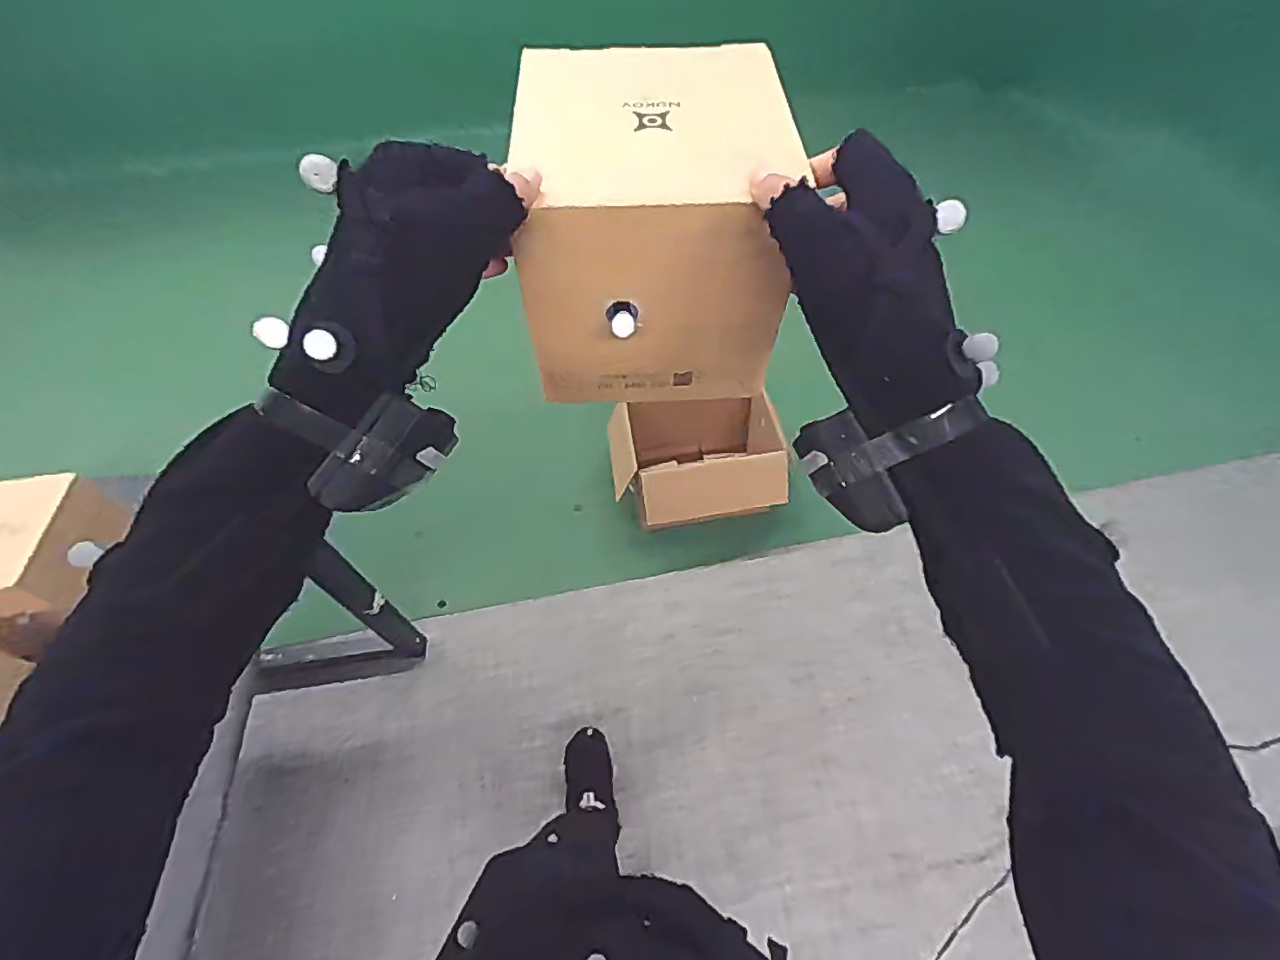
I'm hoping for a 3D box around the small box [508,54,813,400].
[{"bbox_3d":[0.010,-0.170,0.393,0.168,0.176,0.179,-2,59,-1],"label":"small box"}]
